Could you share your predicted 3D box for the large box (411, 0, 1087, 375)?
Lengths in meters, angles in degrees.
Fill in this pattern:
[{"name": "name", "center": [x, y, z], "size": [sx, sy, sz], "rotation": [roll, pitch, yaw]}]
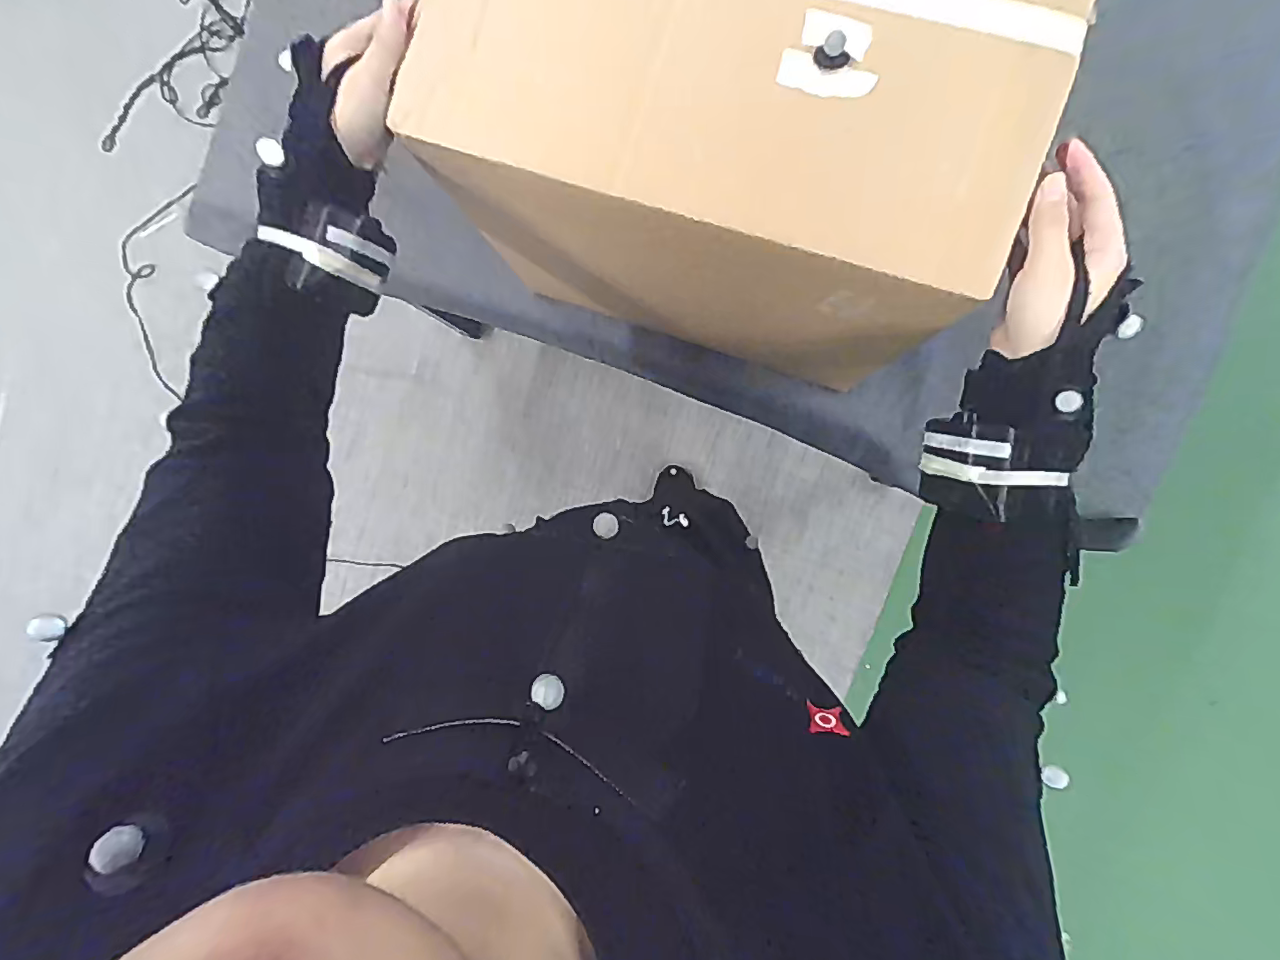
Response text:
[{"name": "large box", "center": [0.087, -0.324, 0.495], "size": [0.408, 0.320, 0.320], "rotation": [19, 92, 5]}]
